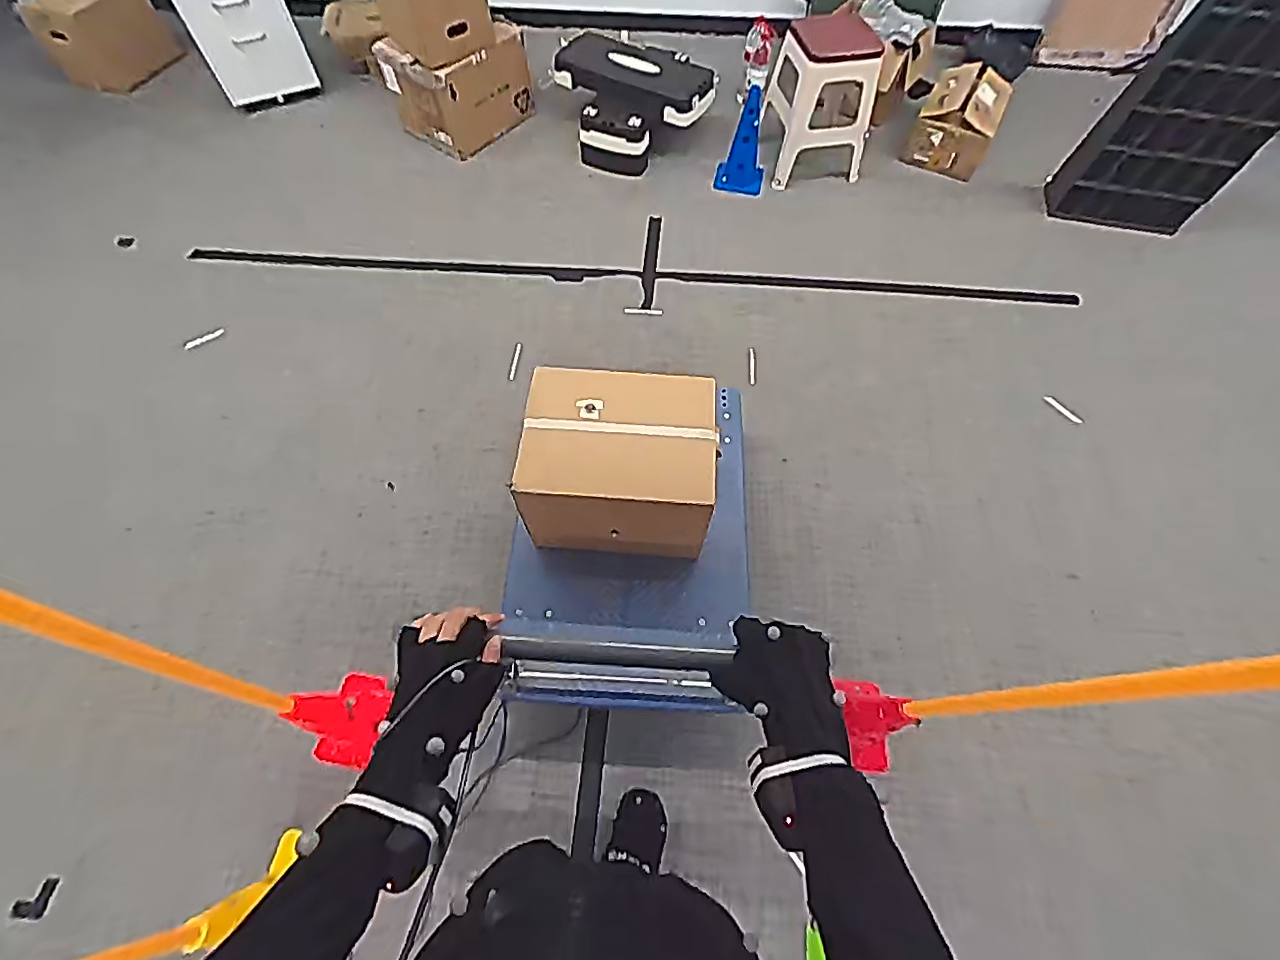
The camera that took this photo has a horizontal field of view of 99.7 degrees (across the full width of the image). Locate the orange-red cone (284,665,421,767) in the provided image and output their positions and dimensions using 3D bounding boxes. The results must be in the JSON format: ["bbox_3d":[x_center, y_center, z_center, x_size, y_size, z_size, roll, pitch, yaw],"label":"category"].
[{"bbox_3d":[-0.643,0.478,1.146,0.198,0.360,0.199,12,61,4],"label":"orange-red cone"}]

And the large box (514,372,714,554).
[{"bbox_3d":[-0.043,-0.027,1.264,0.408,0.320,0.320,4,62,2],"label":"large box"}]

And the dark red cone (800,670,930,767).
[{"bbox_3d":[0.491,0.484,1.140,0.201,0.394,0.202,6,62,0],"label":"dark red cone"}]

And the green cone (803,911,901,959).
[{"bbox_3d":[0.430,0.915,0.926,0.202,0.368,0.200,9,62,2],"label":"green cone"}]
